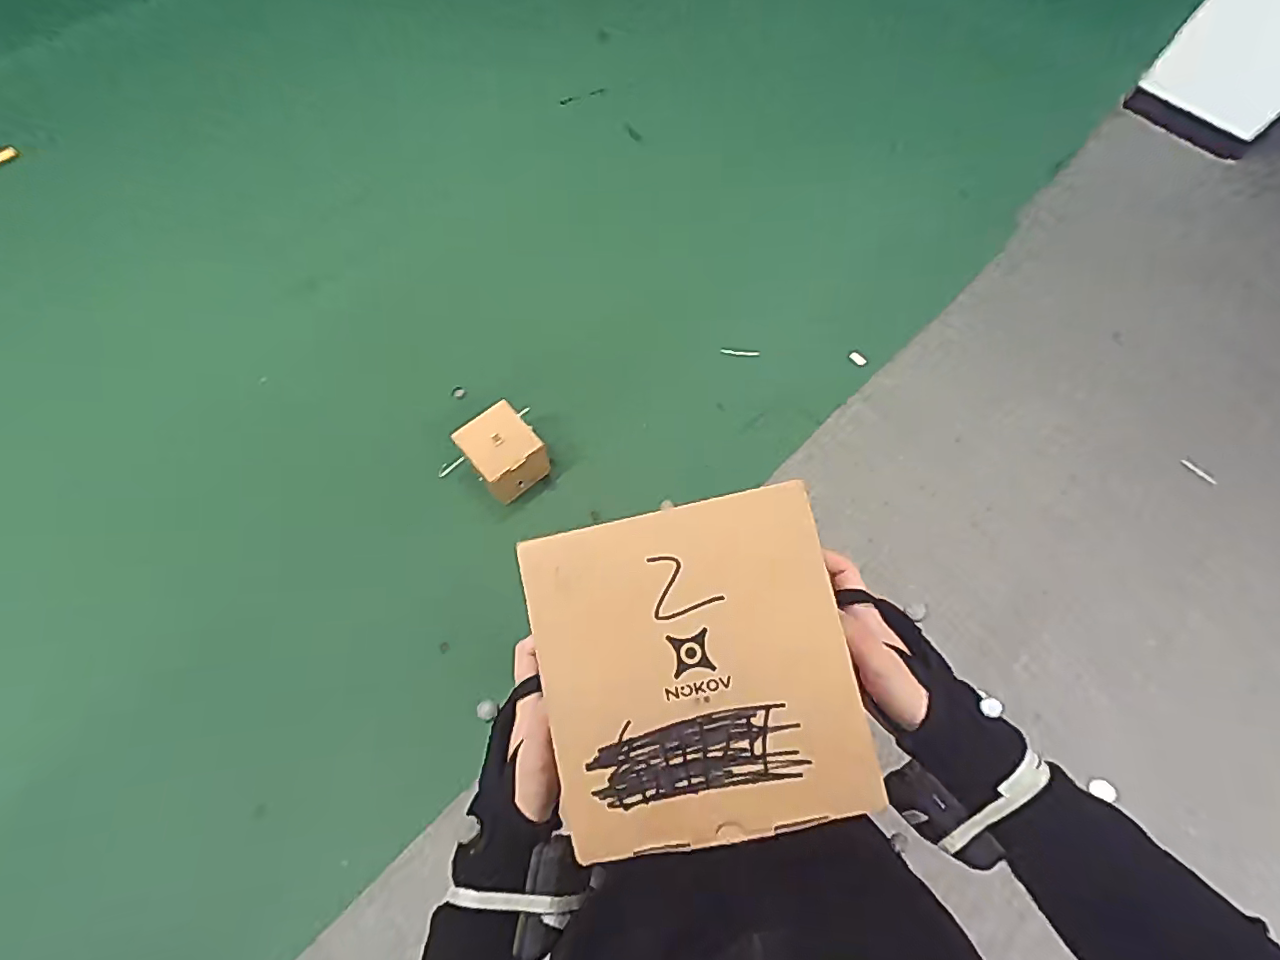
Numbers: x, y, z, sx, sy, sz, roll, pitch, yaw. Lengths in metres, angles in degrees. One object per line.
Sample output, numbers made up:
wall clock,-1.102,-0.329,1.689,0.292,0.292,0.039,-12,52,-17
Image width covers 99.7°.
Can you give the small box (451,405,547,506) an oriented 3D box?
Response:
small box,-0.369,-0.060,1.445,0.168,0.176,0.179,-39,75,-17
